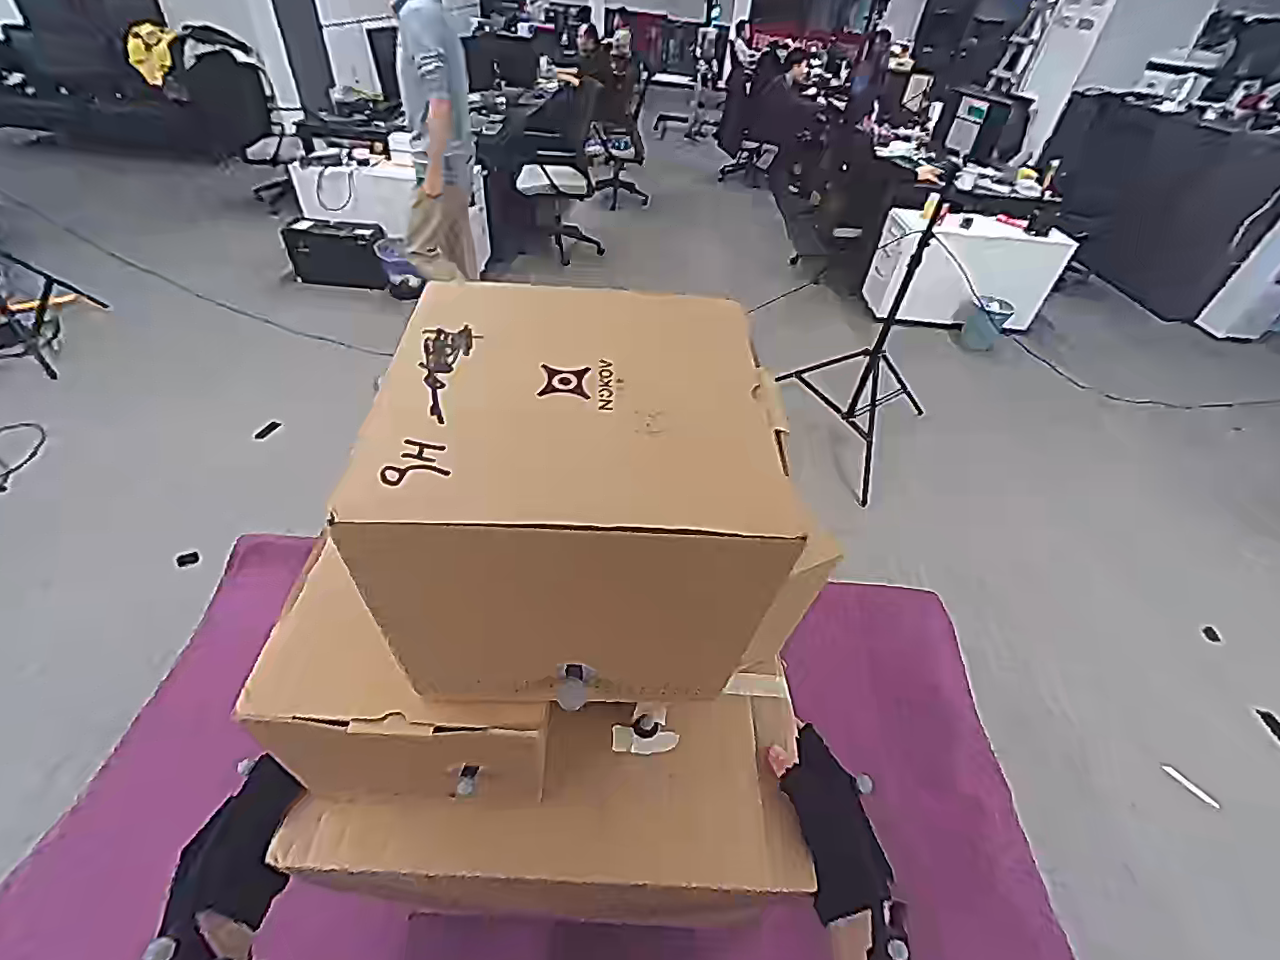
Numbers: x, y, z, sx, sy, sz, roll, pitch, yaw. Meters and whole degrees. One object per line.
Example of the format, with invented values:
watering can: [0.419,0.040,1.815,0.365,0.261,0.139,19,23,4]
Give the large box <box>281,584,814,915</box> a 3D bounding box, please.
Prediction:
large box: [-0.081,0.277,0.607,0.408,0.320,0.320,6,47,-5]

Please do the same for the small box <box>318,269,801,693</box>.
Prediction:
small box: [-0.036,0.007,0.304,0.179,0.176,0.168,3,47,-6]

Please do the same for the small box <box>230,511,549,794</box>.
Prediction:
small box: [-0.149,0.120,0.406,0.168,0.176,0.179,6,45,-7]
